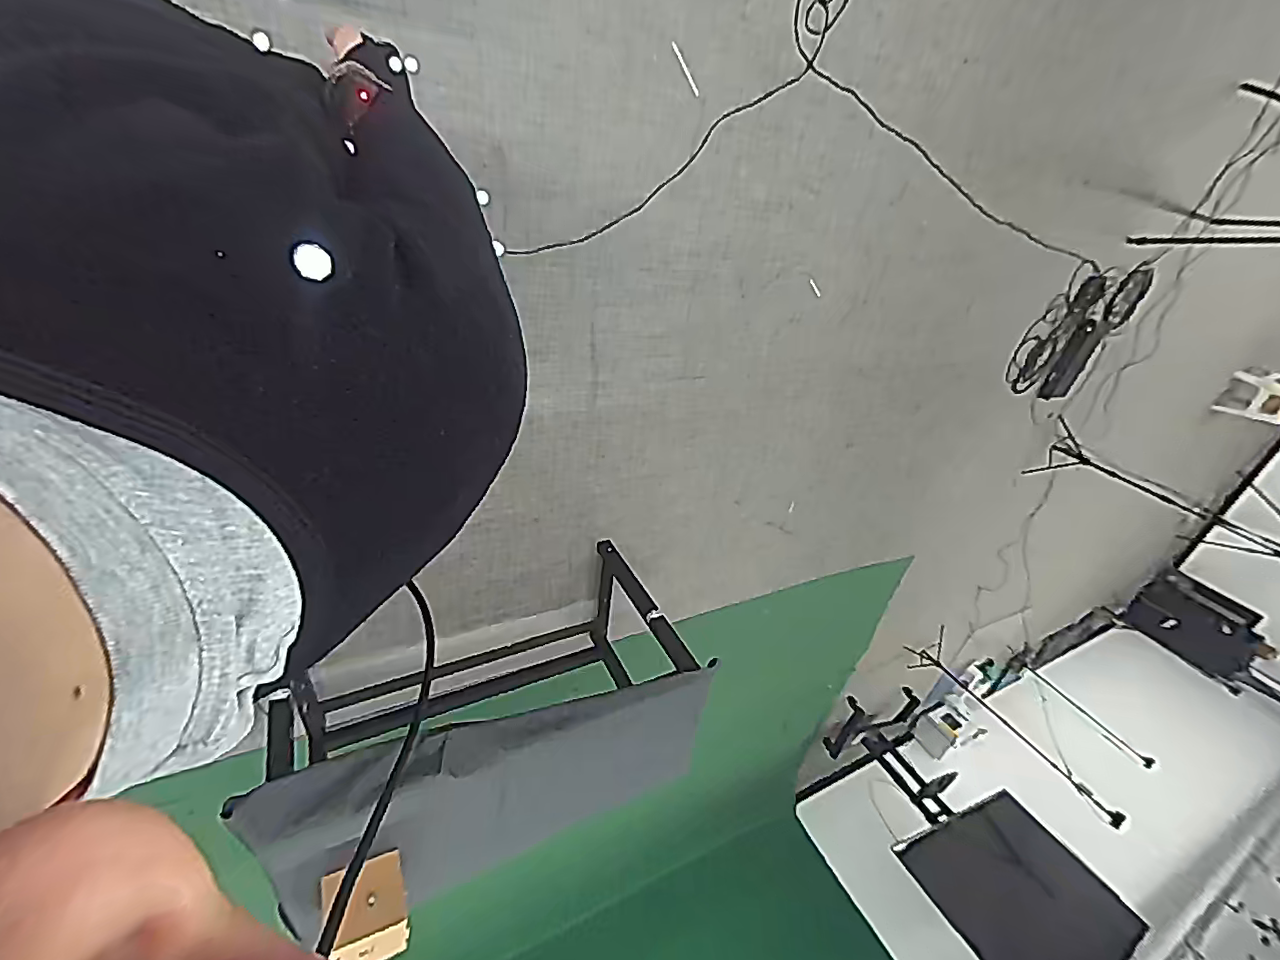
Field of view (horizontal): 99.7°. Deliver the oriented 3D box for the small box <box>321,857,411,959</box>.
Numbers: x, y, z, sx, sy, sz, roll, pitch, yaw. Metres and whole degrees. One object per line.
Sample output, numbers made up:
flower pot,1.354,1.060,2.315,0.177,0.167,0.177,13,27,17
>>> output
small box,-0.676,1.080,1.333,0.179,0.176,0.168,-4,123,-32
